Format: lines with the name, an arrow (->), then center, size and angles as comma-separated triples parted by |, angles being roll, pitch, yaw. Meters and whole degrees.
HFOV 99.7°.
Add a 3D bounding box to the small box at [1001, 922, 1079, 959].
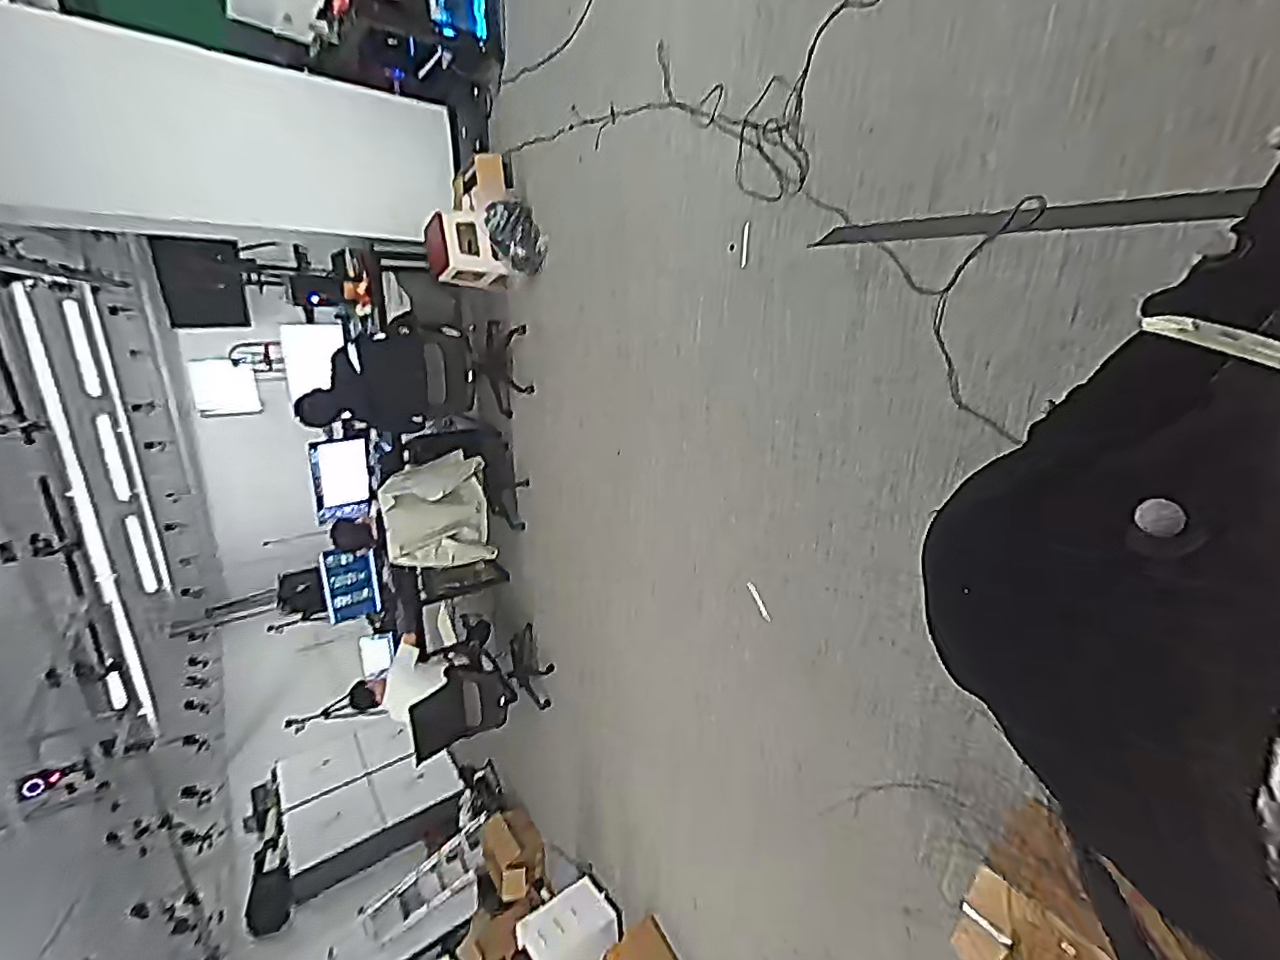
small box -> 0.853, 1.090, 1.124 | 0.179, 0.176, 0.168 | 22, 116, 51
